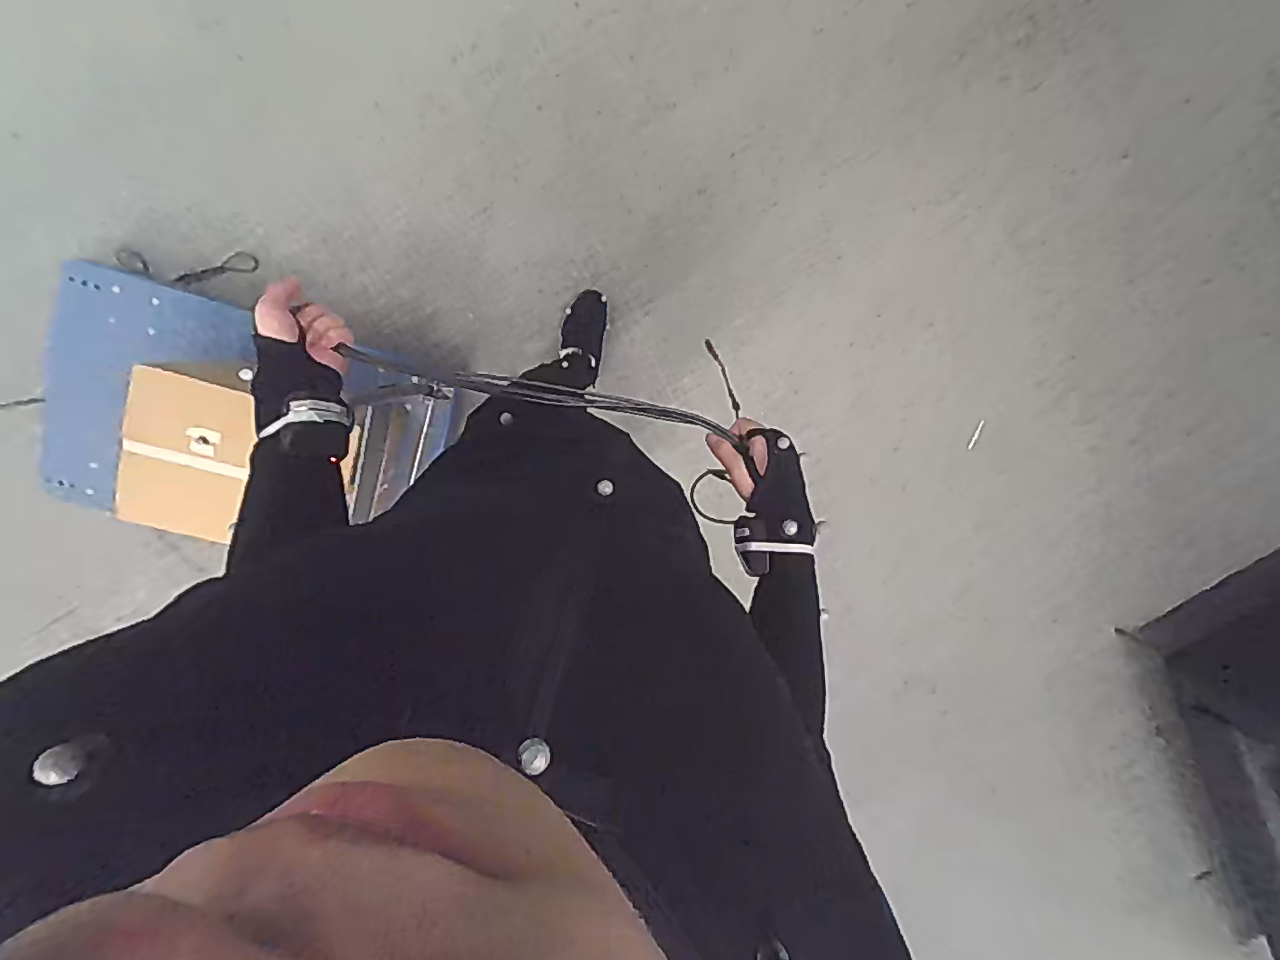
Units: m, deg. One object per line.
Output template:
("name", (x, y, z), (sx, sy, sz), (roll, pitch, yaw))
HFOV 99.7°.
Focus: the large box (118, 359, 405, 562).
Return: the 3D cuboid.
("large box", (-0.789, -0.057, 1.188), (0.408, 0.320, 0.320), (16, 100, -10))
